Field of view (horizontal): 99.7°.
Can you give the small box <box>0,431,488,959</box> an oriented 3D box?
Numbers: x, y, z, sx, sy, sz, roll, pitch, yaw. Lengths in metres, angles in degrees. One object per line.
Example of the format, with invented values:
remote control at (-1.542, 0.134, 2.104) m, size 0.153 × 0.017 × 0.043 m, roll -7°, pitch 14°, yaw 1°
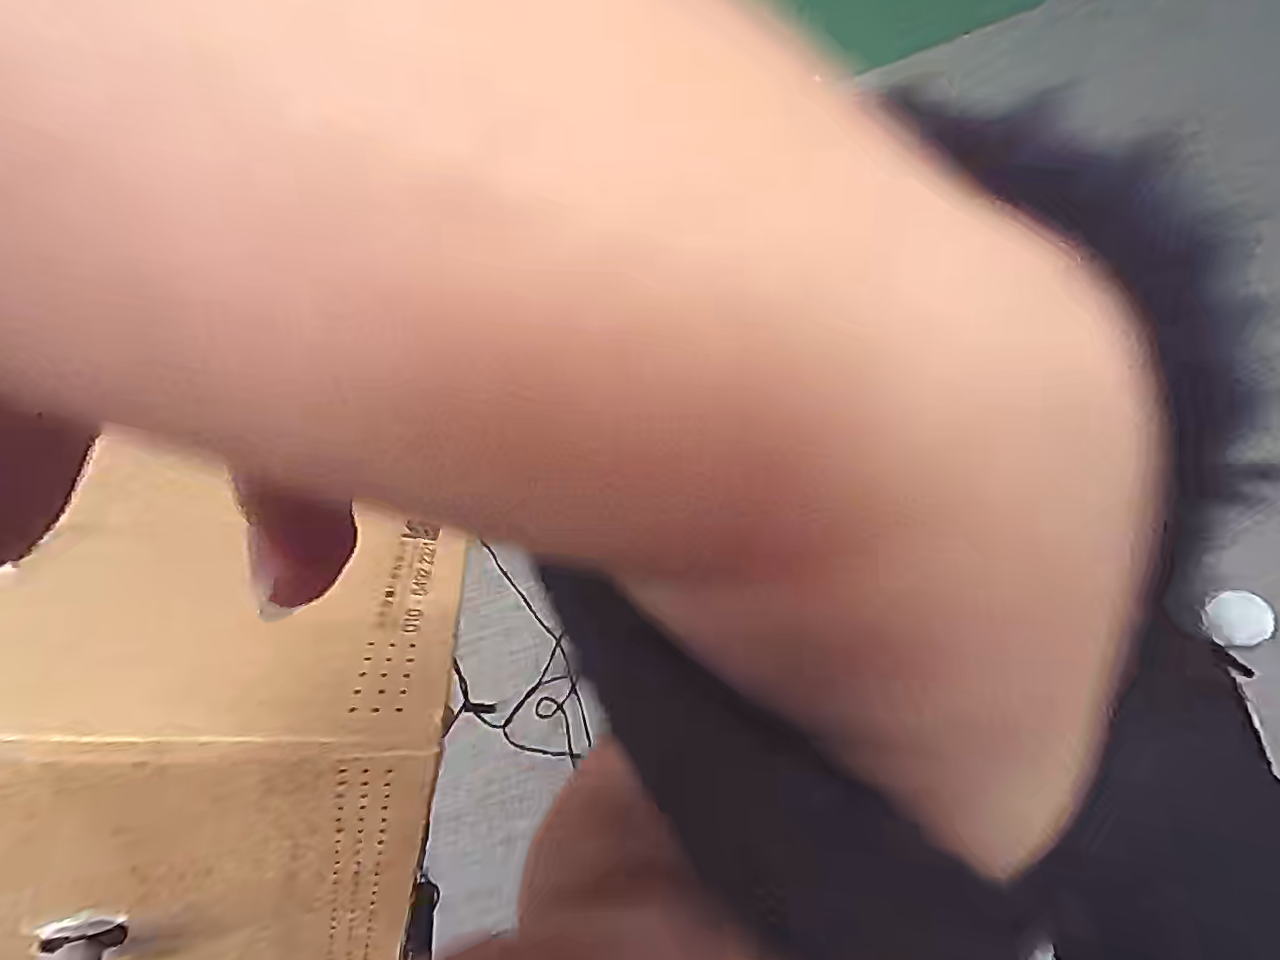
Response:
small box at (-0.171, 0.101, 0.247) m, size 0.176 × 0.179 × 0.168 m, roll 9°, pitch 27°, yaw -17°
